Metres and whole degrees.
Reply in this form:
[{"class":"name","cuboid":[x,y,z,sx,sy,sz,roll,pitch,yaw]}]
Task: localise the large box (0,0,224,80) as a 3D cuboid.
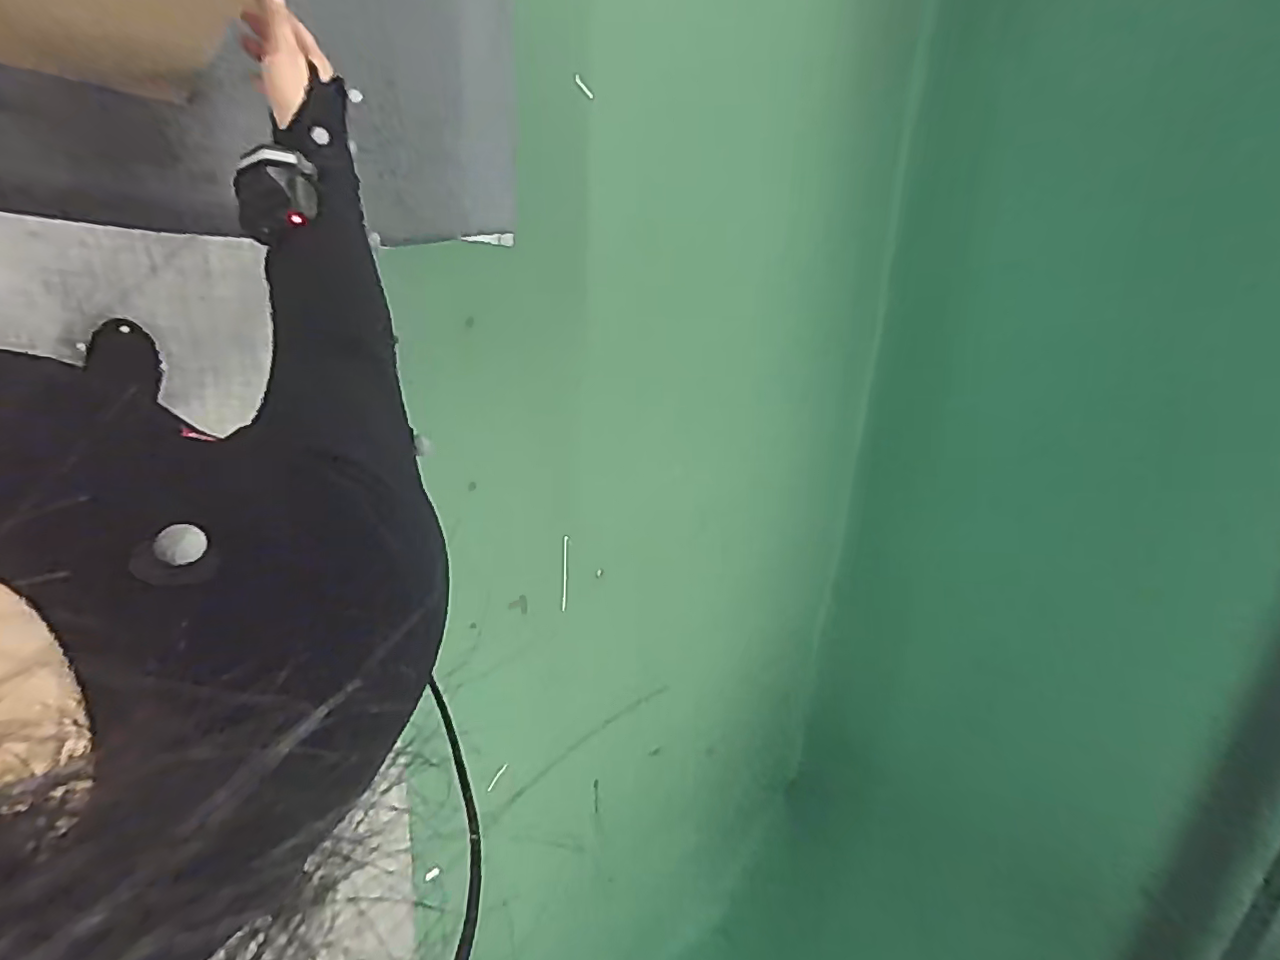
[{"class":"large box","cuboid":[-0.486,-0.460,0.256,0.408,0.320,0.320,-16,116,-44]}]
